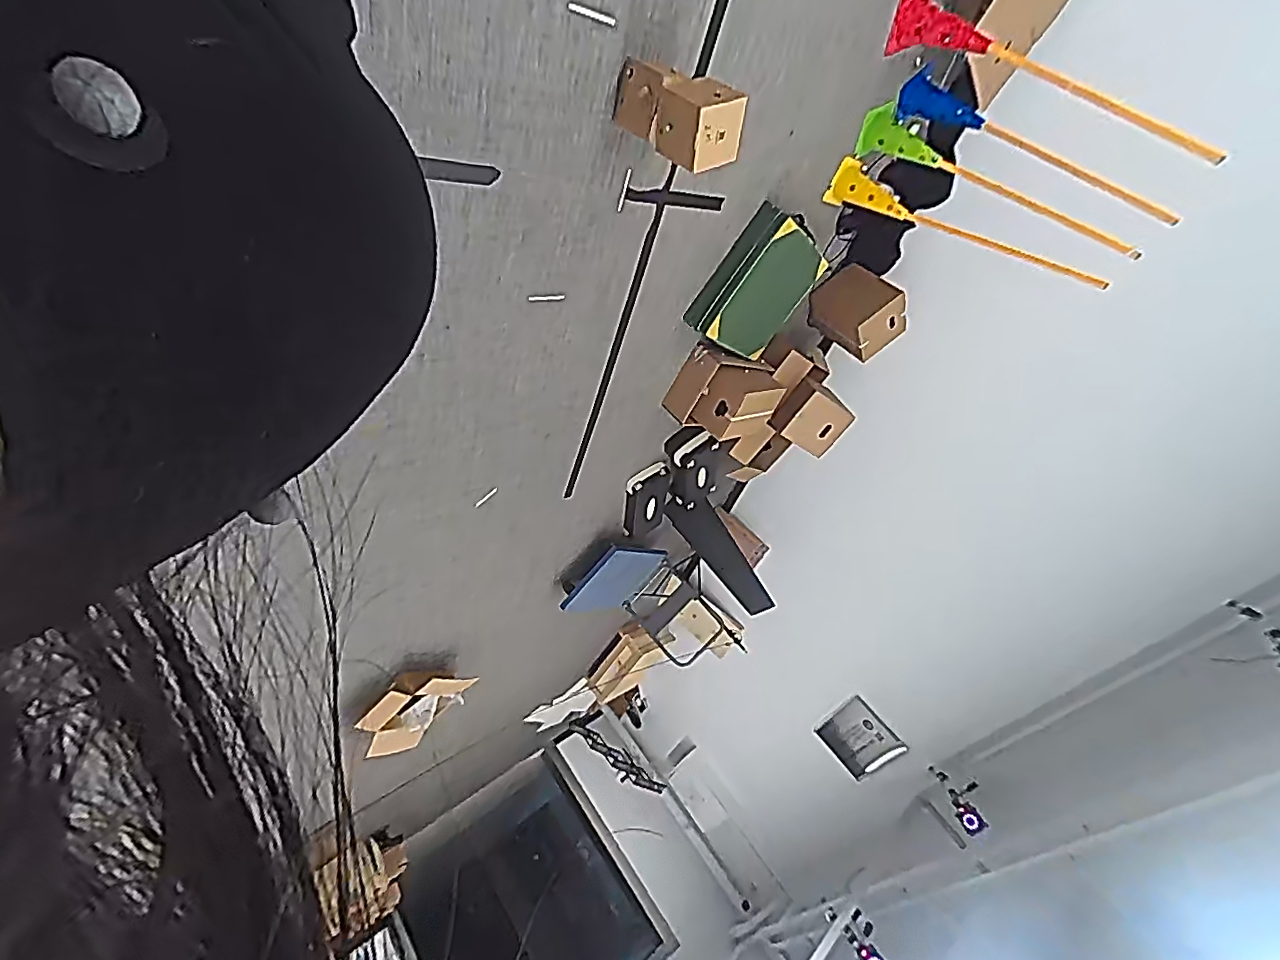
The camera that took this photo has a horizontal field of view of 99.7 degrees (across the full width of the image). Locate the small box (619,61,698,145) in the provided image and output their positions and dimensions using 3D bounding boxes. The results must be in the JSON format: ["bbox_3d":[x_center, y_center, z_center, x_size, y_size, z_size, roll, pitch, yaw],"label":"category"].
[{"bbox_3d":[0.065,-1.096,1.584,0.179,0.176,0.168,-22,147,-38],"label":"small box"}]

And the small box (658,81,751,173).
[{"bbox_3d":[0.176,-0.993,1.516,0.179,0.176,0.168,-27,149,-26],"label":"small box"}]
